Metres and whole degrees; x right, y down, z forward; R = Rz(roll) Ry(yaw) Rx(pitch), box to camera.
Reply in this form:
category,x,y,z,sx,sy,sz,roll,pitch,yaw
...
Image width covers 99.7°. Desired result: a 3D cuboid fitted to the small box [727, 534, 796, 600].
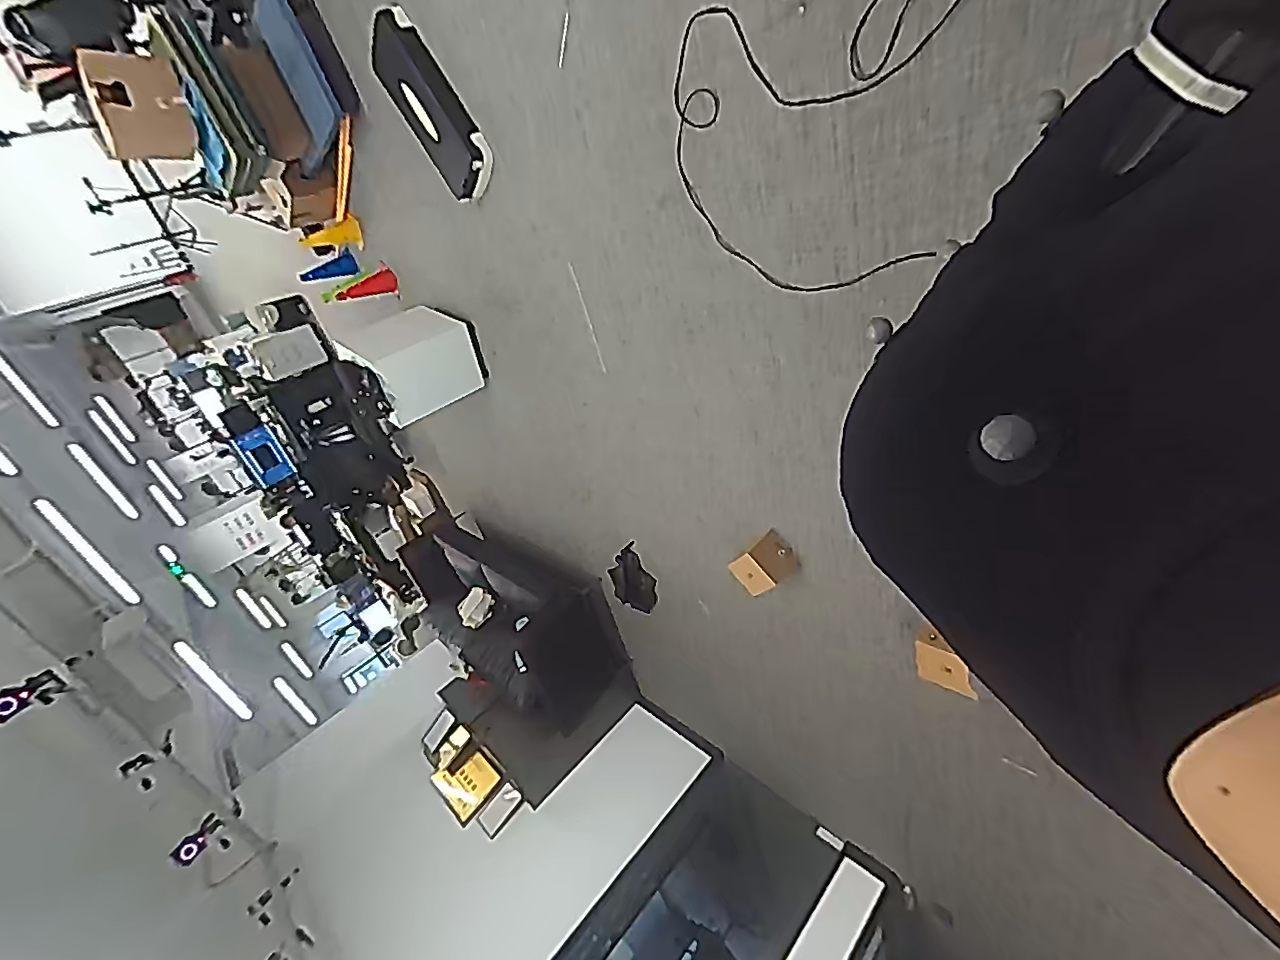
category,x,y,z,sx,sy,sz,roll,pitch,yaw
small box,0.487,0.346,2.150,0.168,0.176,0.179,48,148,7

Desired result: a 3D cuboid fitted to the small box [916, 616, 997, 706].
category,x,y,z,sx,sy,sz,roll,pitch,yaw
small box,0.983,0.552,1.676,0.179,0.176,0.168,14,131,48
